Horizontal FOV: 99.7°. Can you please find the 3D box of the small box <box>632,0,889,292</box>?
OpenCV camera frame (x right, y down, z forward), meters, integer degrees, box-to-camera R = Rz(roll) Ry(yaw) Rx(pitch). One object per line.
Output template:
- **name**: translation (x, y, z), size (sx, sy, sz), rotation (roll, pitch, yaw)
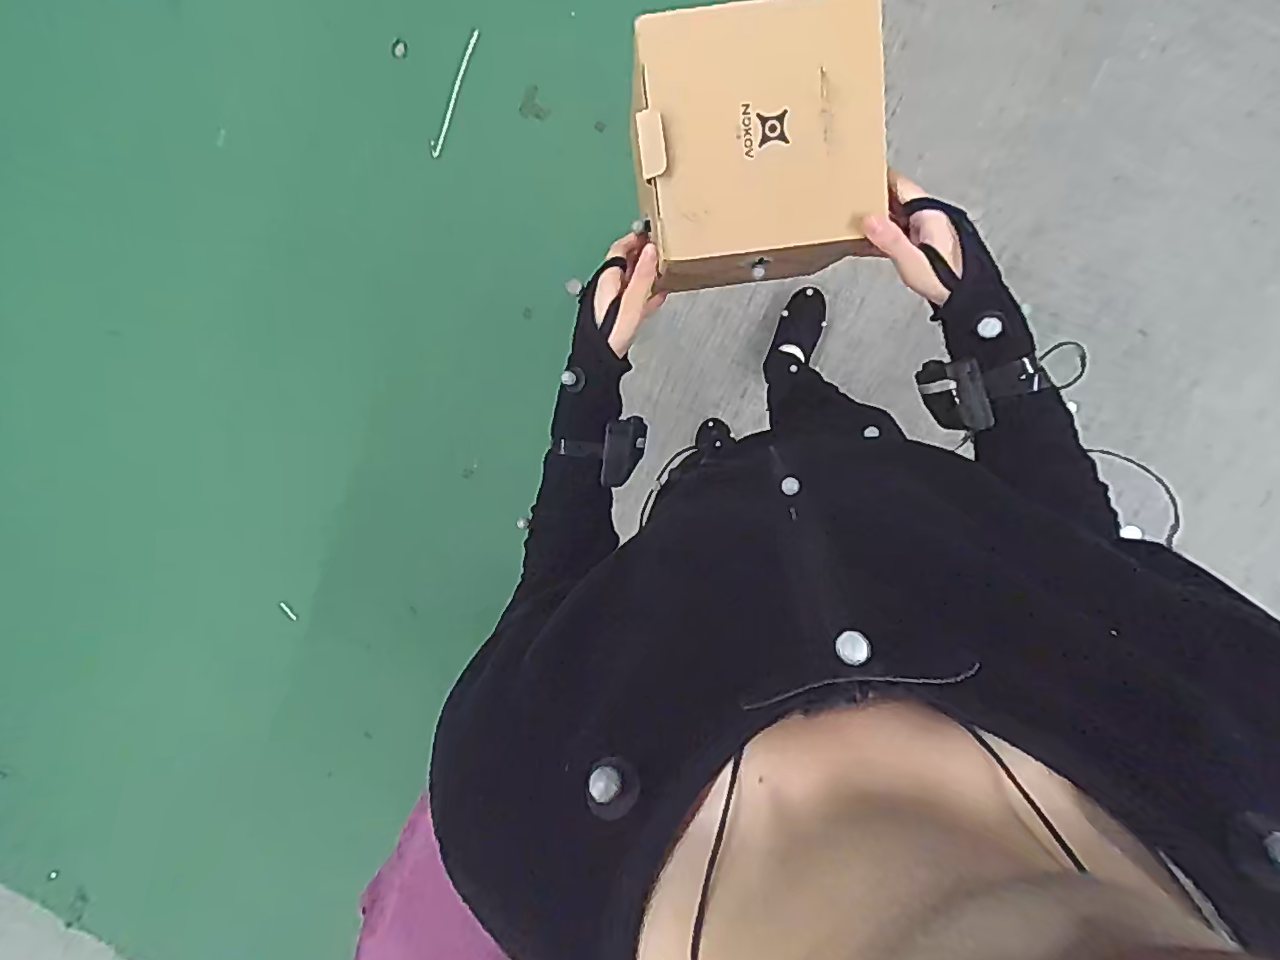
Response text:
- **small box**: translation (0.090, -0.268, 0.469), size (0.179, 0.176, 0.168), rotation (-7, 101, 0)
